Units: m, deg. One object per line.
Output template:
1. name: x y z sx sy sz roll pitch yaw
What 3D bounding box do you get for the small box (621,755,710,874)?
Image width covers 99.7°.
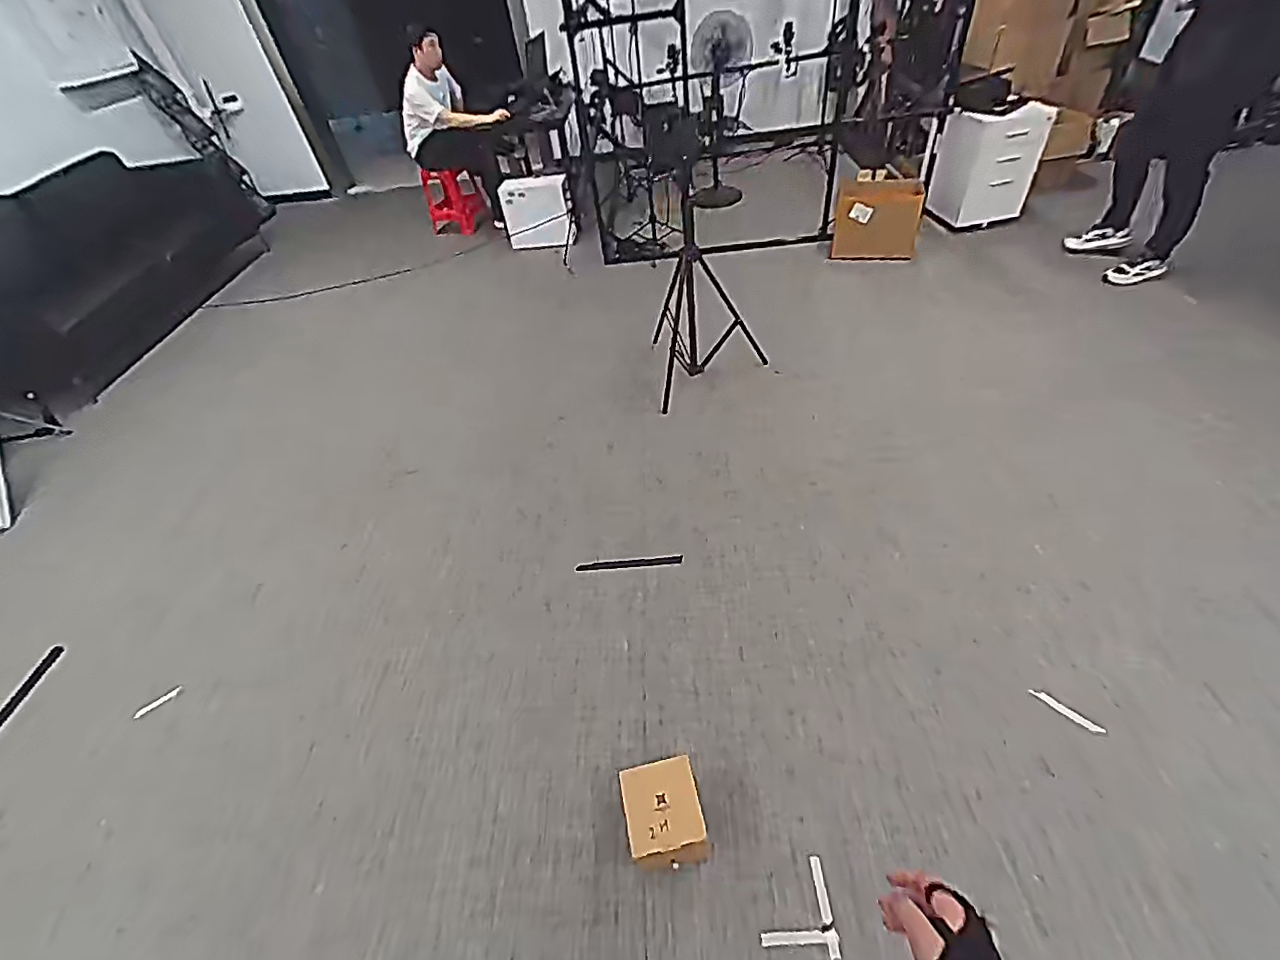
1. small box: 0.058 0.766 1.237 0.168 0.176 0.179 -13 45 -3
